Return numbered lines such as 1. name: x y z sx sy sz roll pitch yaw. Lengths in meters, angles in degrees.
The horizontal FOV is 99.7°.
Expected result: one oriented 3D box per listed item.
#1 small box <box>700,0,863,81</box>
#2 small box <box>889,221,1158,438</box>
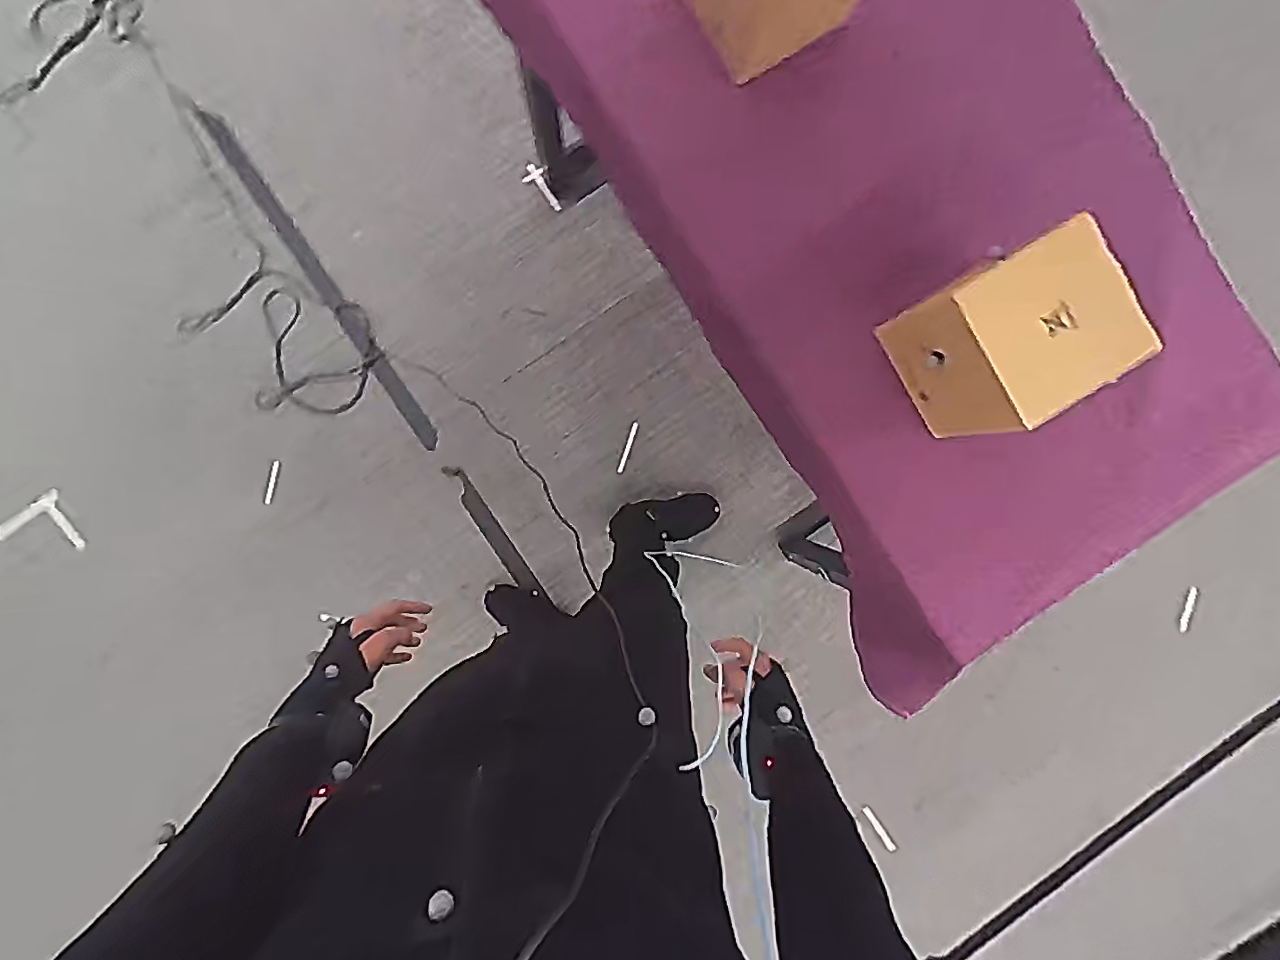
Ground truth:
1. small box: 0.169 -0.609 0.610 0.179 0.176 0.168 -31 94 -3
2. small box: 0.431 -0.161 0.645 0.179 0.176 0.168 -31 93 -3
